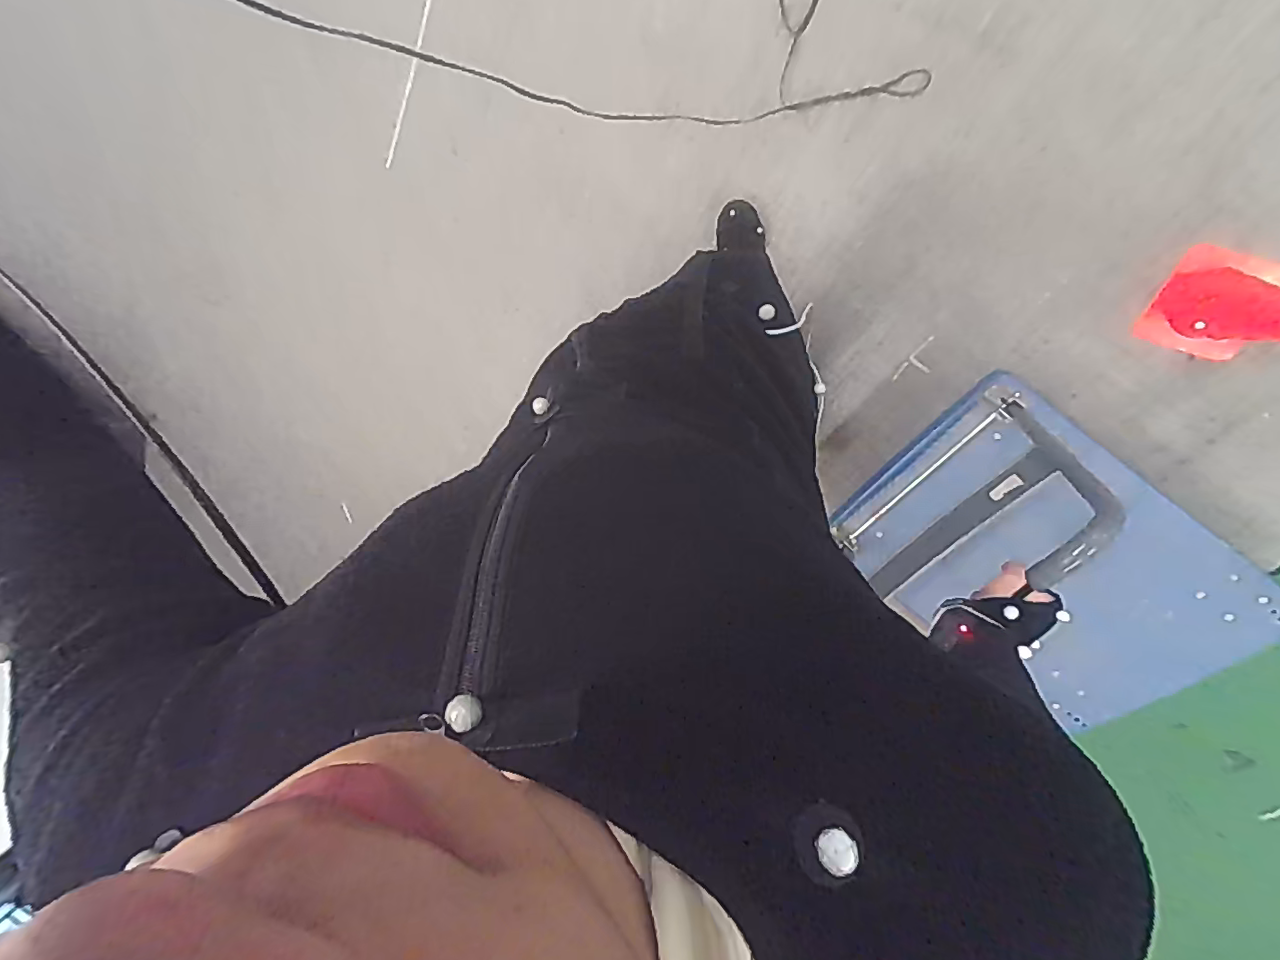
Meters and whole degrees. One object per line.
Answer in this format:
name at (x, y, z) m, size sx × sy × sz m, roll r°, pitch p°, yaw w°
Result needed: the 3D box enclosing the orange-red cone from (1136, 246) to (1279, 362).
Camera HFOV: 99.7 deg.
orange-red cone at (1.154, -0.301, 0.991) m, size 0.198 × 0.360 × 0.199 m, roll 23°, pitch 118°, yaw 7°
